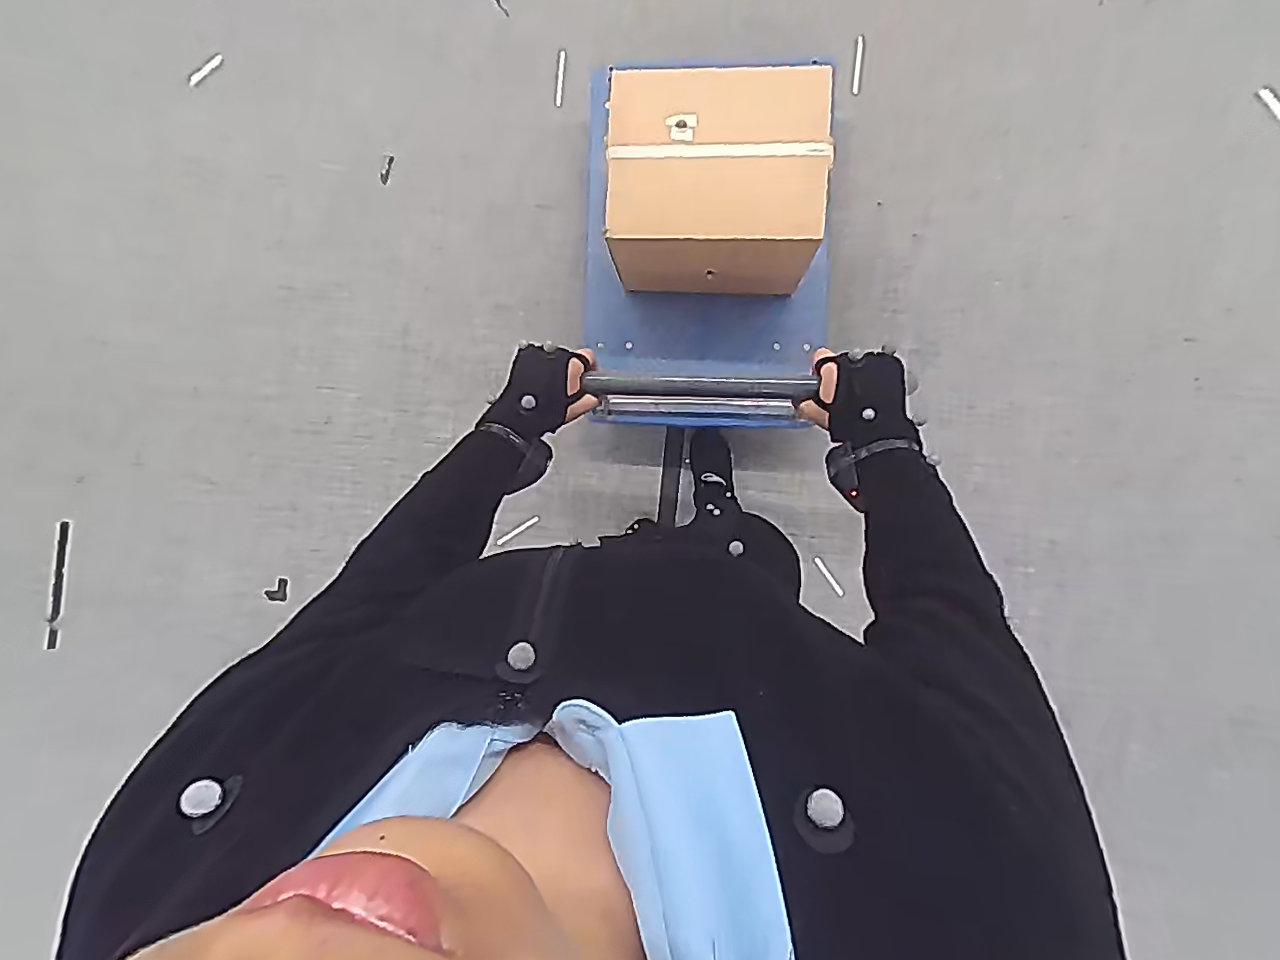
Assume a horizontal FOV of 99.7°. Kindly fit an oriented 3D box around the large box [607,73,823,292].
[{"bbox_3d":[0.155,-0.604,1.164,0.408,0.320,0.320,2,90,6],"label":"large box"}]
